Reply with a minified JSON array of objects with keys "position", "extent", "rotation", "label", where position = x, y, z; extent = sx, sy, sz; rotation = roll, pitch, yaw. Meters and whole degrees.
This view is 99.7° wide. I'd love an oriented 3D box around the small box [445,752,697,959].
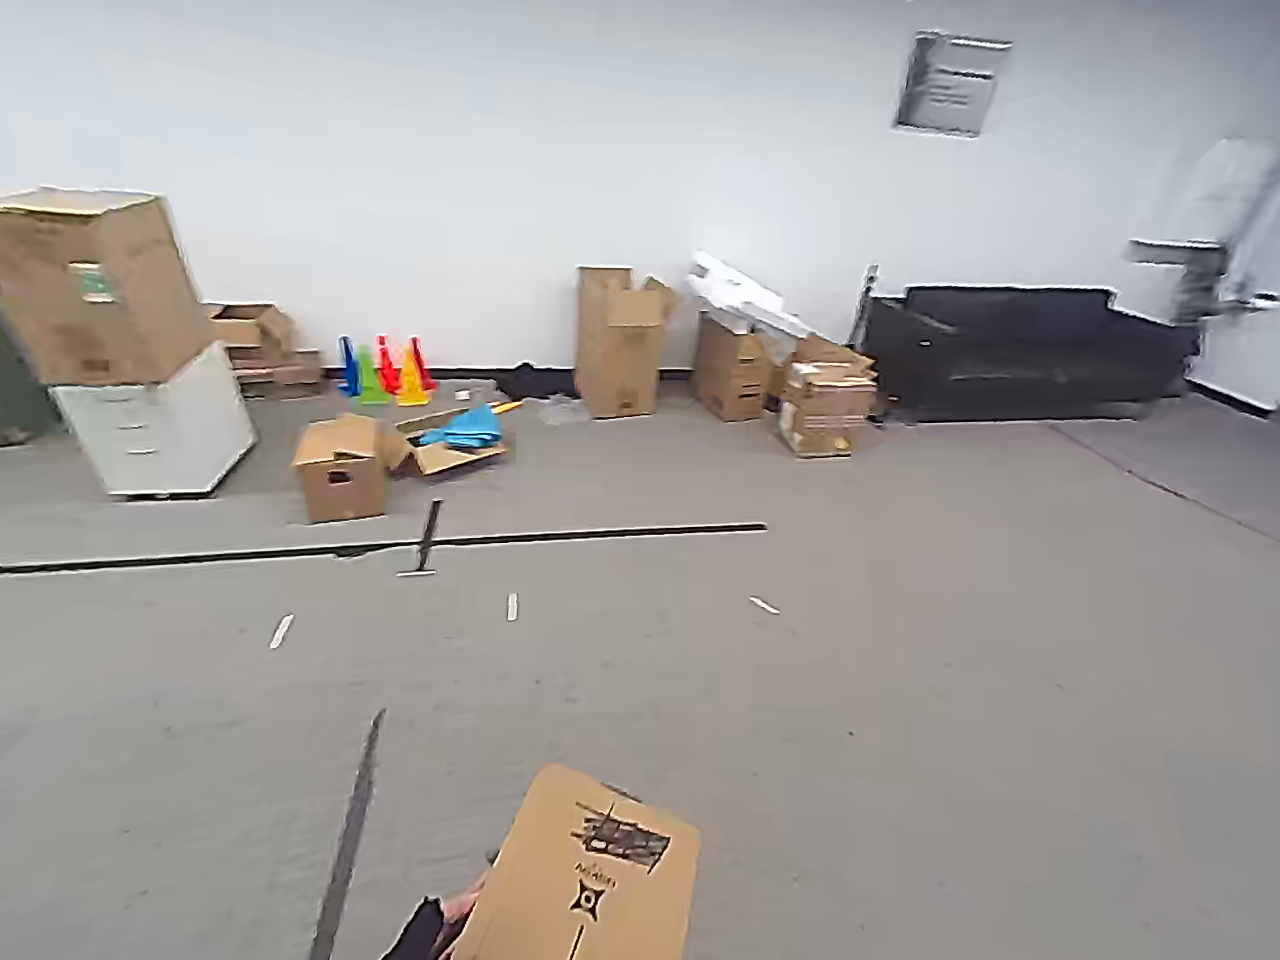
[{"position":[-0.065,0.392,0.474],"extent":[0.168,0.176,0.179],"rotation":[21,26,6],"label":"small box"}]
